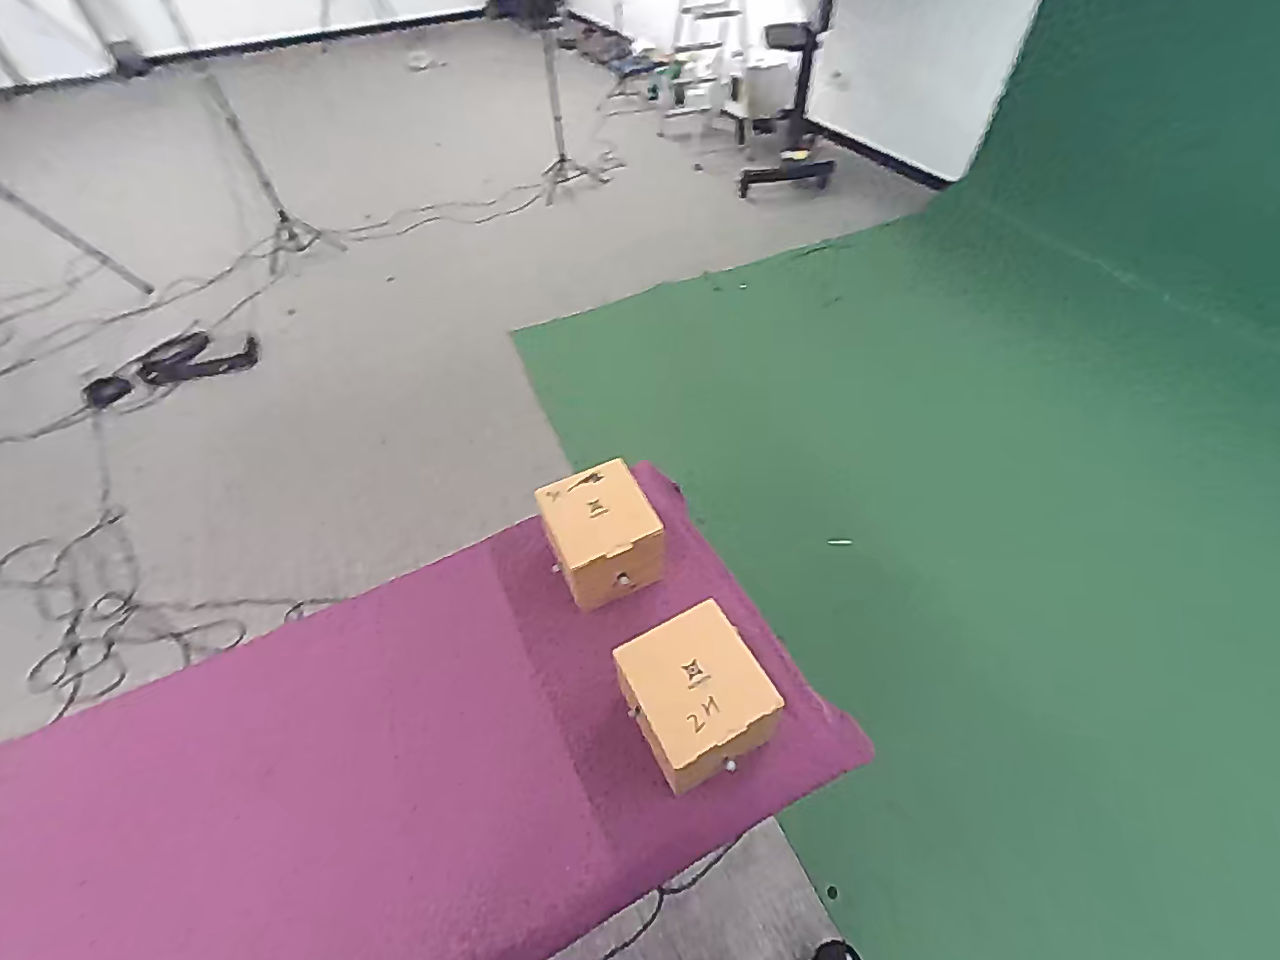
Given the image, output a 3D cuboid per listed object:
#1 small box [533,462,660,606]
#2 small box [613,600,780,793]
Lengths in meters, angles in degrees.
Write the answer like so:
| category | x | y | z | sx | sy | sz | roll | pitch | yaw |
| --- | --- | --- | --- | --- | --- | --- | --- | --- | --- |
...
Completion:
| category | x | y | z | sx | sy | sz | roll | pitch | yaw |
| --- | --- | --- | --- | --- | --- | --- | --- | --- | --- |
| small box | -0.073 | 0.104 | 0.967 | 0.168 | 0.176 | 0.179 | -22 | 55 | -15 |
| small box | 0.075 | 0.314 | 0.783 | 0.168 | 0.176 | 0.179 | -24 | 52 | -15 |
